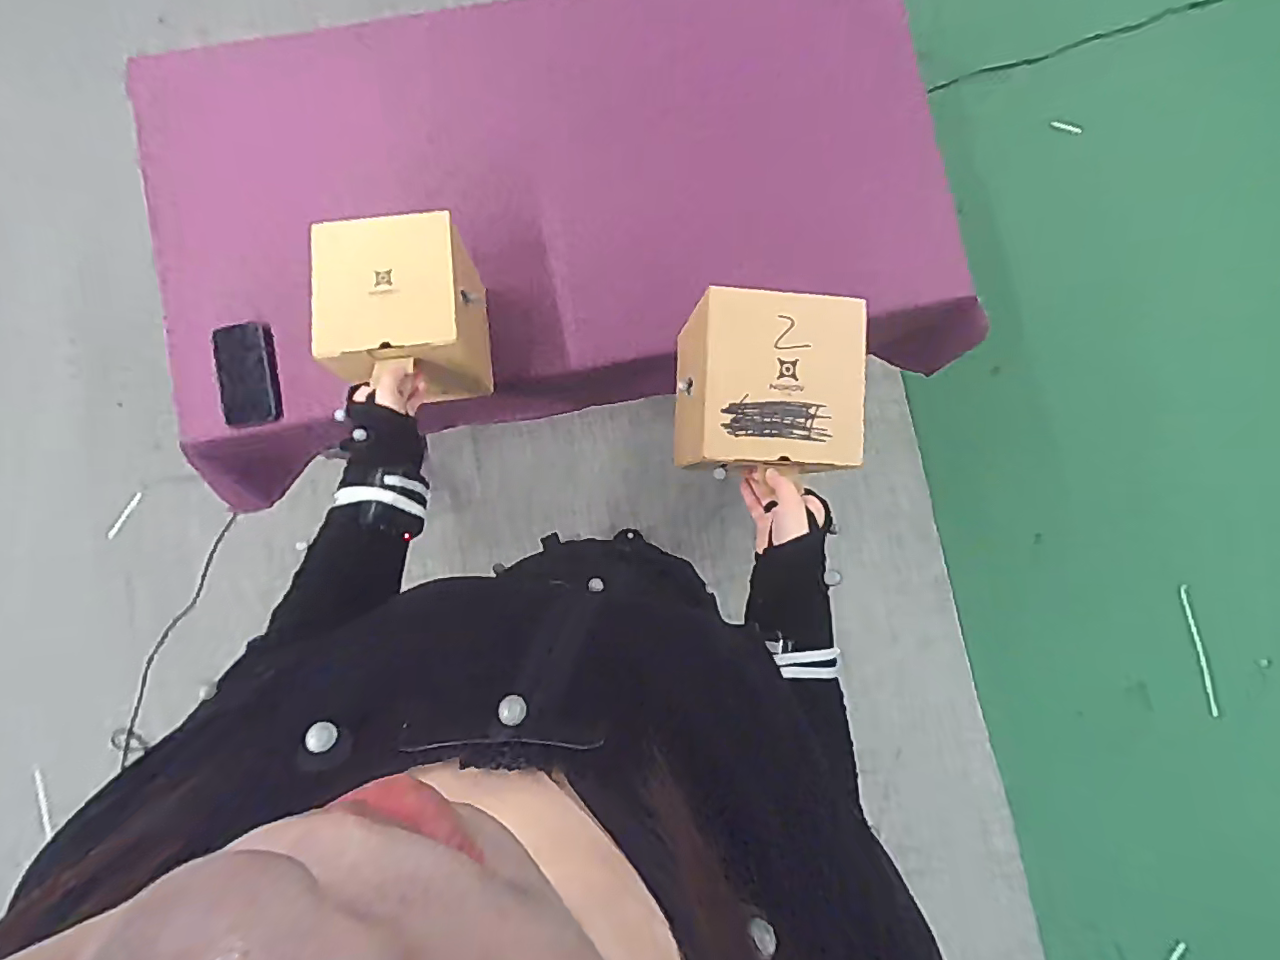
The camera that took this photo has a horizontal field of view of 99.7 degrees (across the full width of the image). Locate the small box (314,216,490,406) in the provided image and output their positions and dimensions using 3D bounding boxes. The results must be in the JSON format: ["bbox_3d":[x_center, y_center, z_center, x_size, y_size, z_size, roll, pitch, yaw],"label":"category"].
[{"bbox_3d":[-0.300,-0.213,0.712,0.168,0.176,0.179,-6,79,-3],"label":"small box"}]
